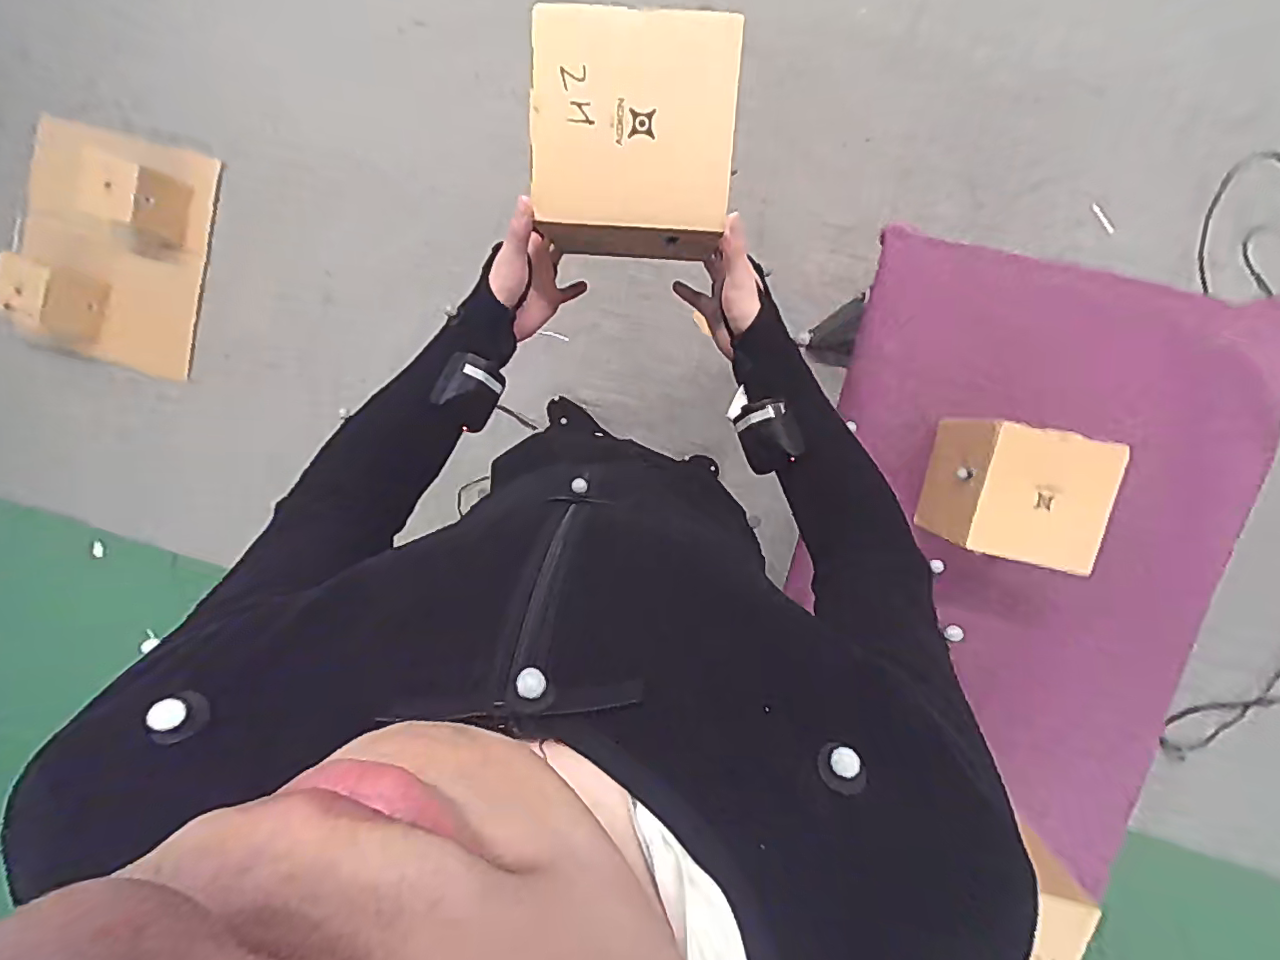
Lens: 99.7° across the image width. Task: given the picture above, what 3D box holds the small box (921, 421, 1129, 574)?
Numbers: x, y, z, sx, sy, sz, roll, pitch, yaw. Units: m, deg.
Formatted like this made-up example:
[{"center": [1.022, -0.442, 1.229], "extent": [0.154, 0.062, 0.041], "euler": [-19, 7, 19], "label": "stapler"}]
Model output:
[{"center": [0.538, 0.016, 0.788], "extent": [0.168, 0.176, 0.179], "euler": [12, 96, 3], "label": "small box"}]

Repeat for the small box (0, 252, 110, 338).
[{"center": [-1.765, -0.547, 1.625], "extent": [0.168, 0.176, 0.179], "euler": [24, 97, 2], "label": "small box"}]

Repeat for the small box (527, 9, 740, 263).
[{"center": [-0.007, -0.318, 0.536], "extent": [0.179, 0.176, 0.168], "euler": [3, 103, 1], "label": "small box"}]

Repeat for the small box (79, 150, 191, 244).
[{"center": [-1.464, -0.814, 1.576], "extent": [0.168, 0.176, 0.179], "euler": [17, 97, 2], "label": "small box"}]
